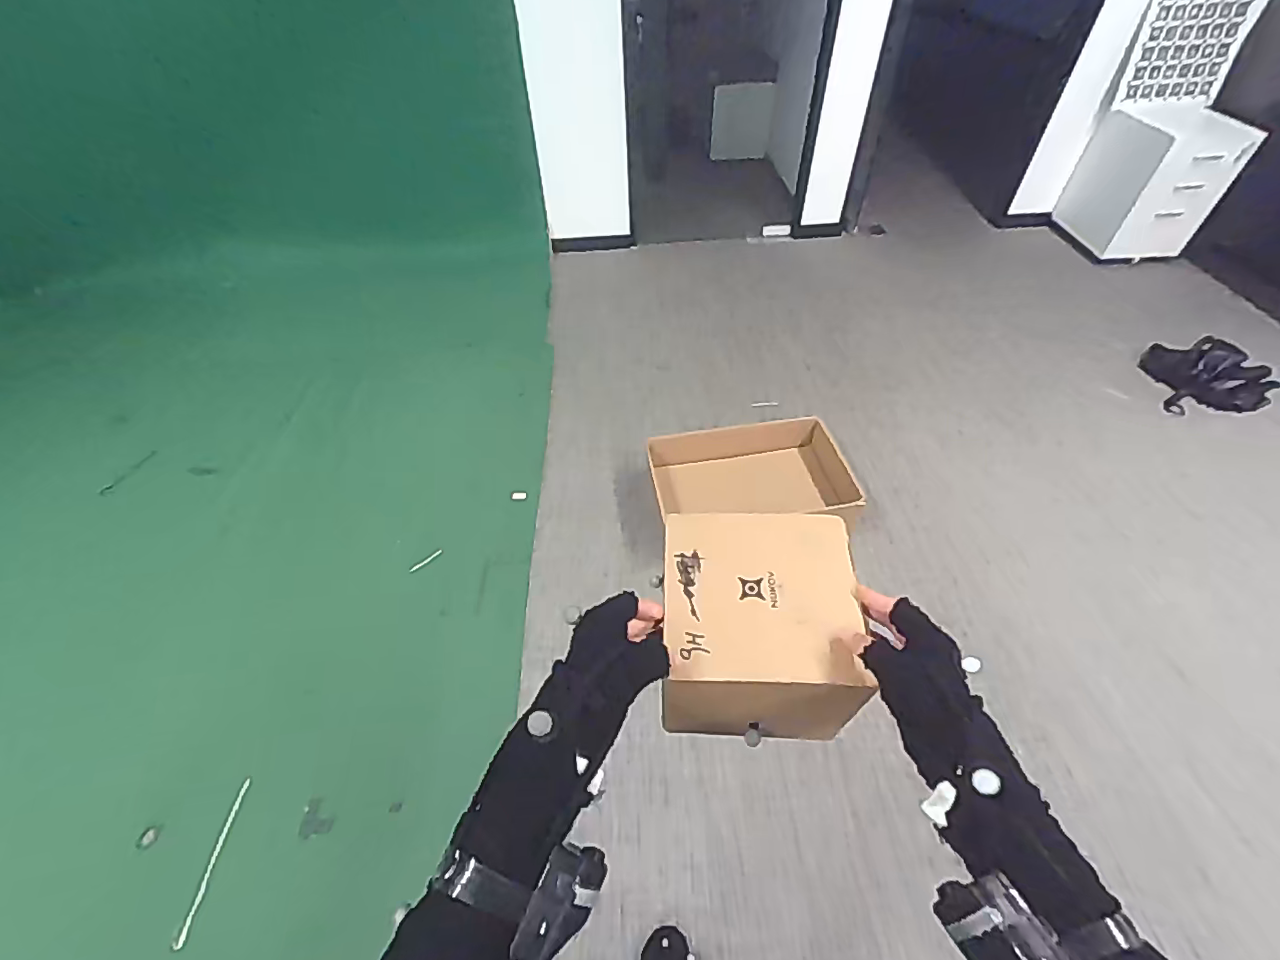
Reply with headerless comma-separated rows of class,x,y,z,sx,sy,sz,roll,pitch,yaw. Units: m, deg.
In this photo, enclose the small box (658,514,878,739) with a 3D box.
small box,0.111,0.152,0.548,0.179,0.176,0.168,2,50,3
